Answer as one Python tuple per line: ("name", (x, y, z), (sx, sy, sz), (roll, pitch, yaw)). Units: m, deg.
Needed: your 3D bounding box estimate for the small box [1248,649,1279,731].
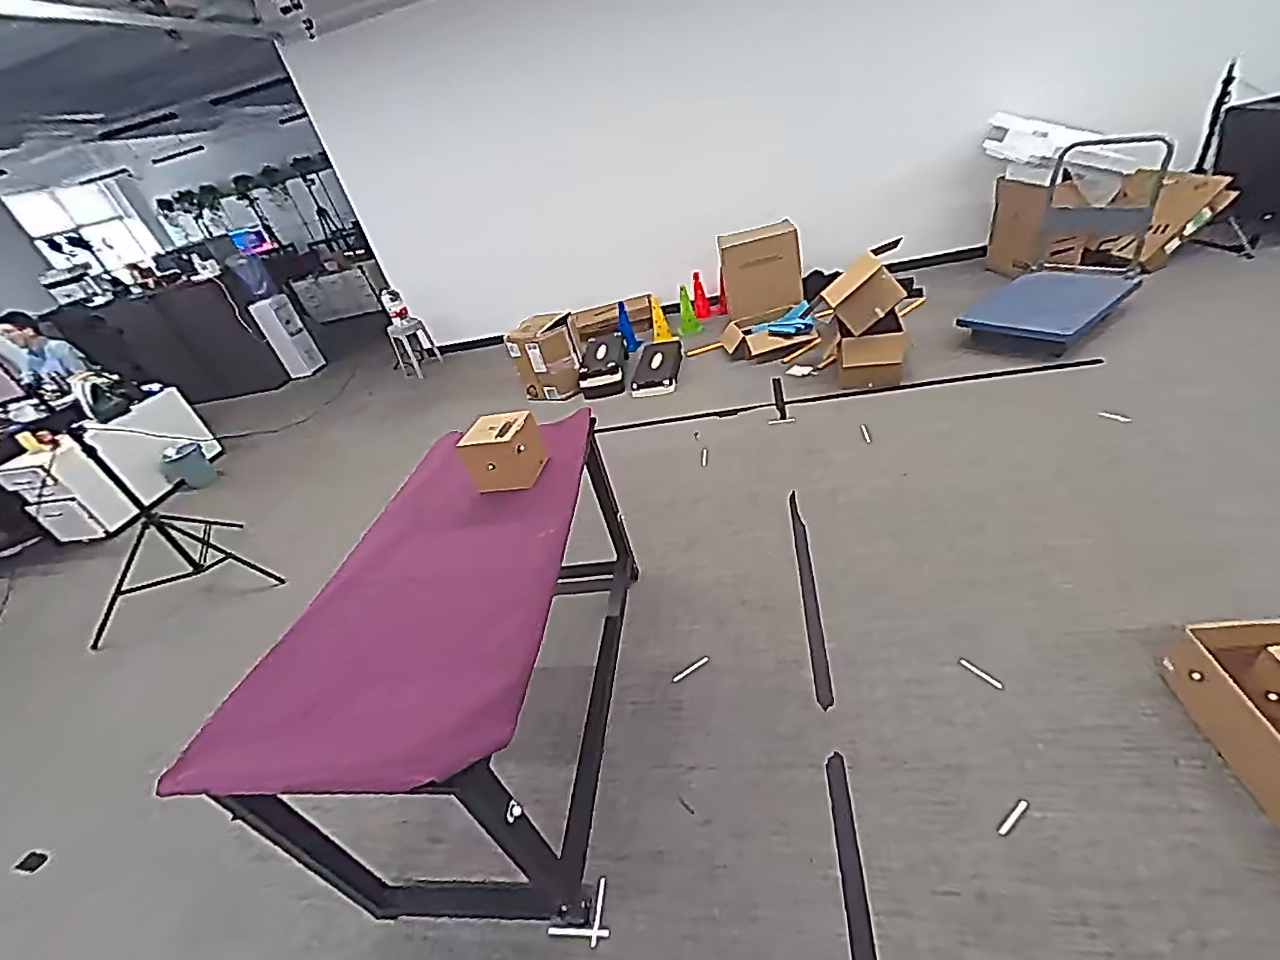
("small box", (1.565, 0.499, 1.233), (0.179, 0.176, 0.168), (-8, 36, 11))
